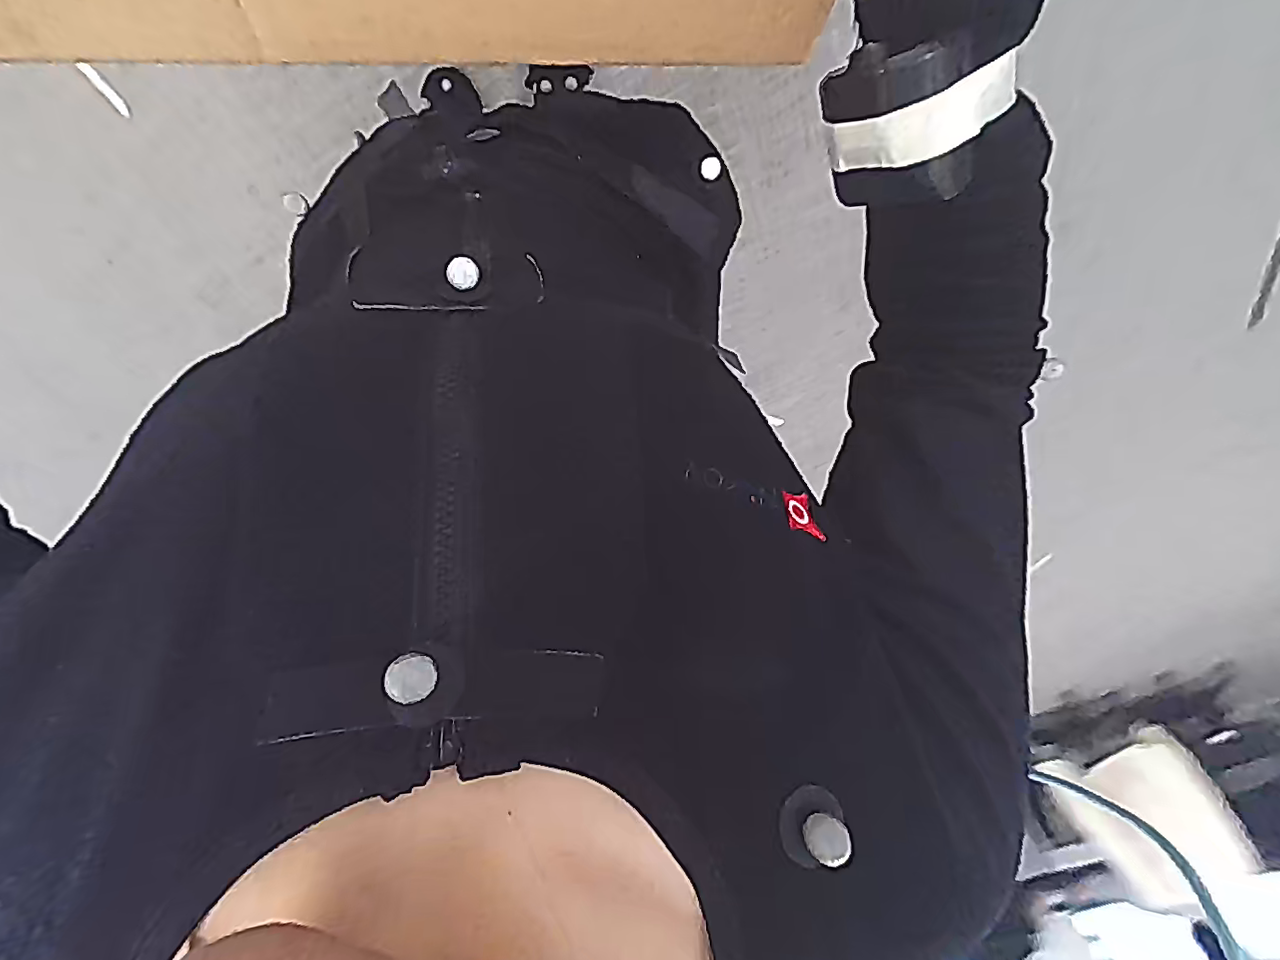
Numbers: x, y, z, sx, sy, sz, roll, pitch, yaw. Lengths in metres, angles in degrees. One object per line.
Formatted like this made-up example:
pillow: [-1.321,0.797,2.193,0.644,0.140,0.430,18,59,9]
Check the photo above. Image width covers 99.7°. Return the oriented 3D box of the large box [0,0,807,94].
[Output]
large box: [-0.133,-0.370,0.144,0.408,0.320,0.320,-9,160,-9]
